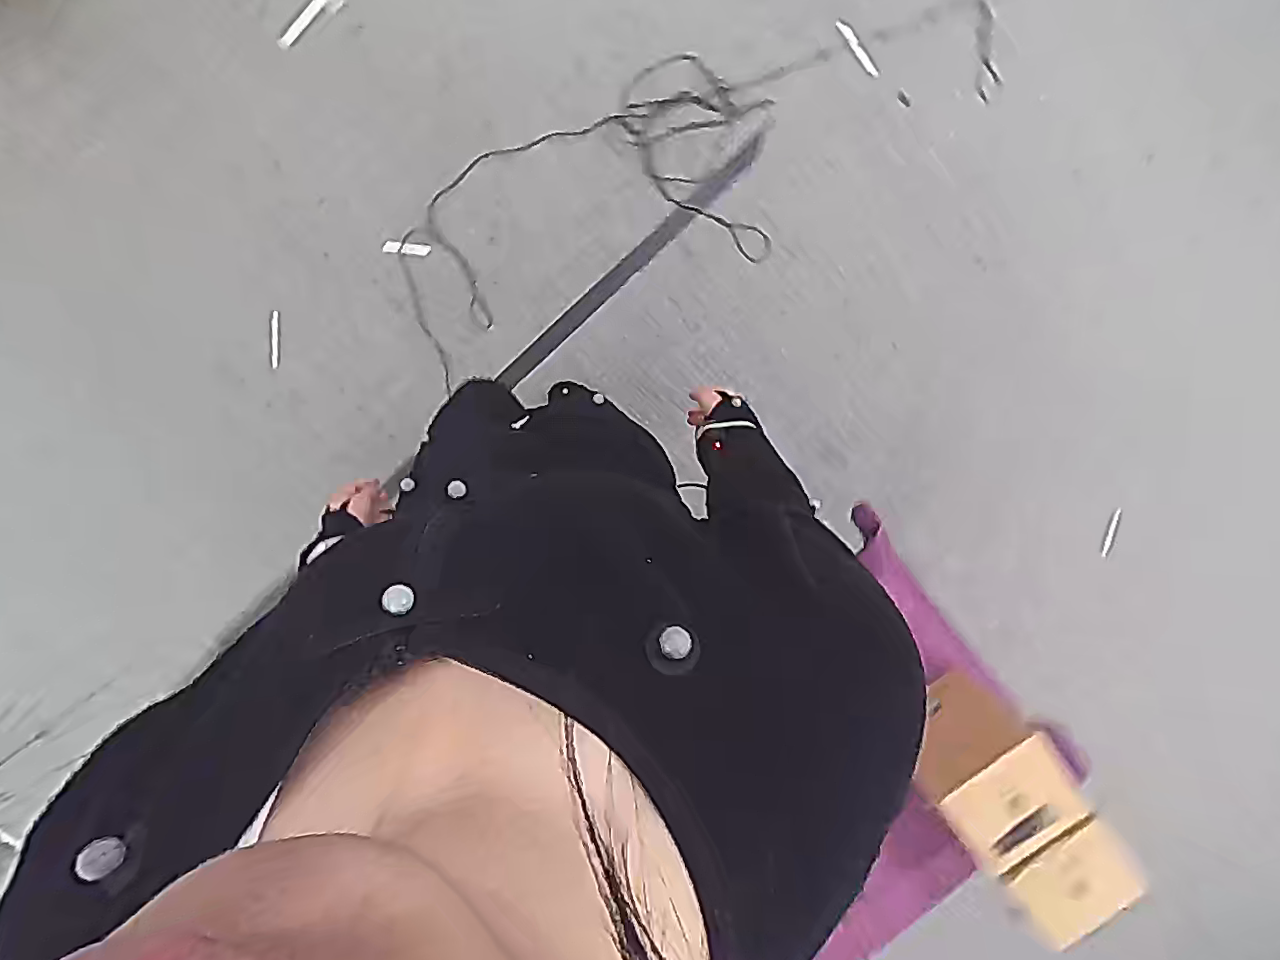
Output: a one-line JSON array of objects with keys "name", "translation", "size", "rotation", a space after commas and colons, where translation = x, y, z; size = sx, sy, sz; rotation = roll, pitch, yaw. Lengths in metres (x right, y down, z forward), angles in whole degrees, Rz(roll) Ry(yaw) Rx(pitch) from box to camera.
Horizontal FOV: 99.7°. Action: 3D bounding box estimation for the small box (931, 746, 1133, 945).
[{"name": "small box", "translation": [0.626, 0.583, 0.881], "size": [0.168, 0.176, 0.179], "rotation": [-38, 103, 2]}]
